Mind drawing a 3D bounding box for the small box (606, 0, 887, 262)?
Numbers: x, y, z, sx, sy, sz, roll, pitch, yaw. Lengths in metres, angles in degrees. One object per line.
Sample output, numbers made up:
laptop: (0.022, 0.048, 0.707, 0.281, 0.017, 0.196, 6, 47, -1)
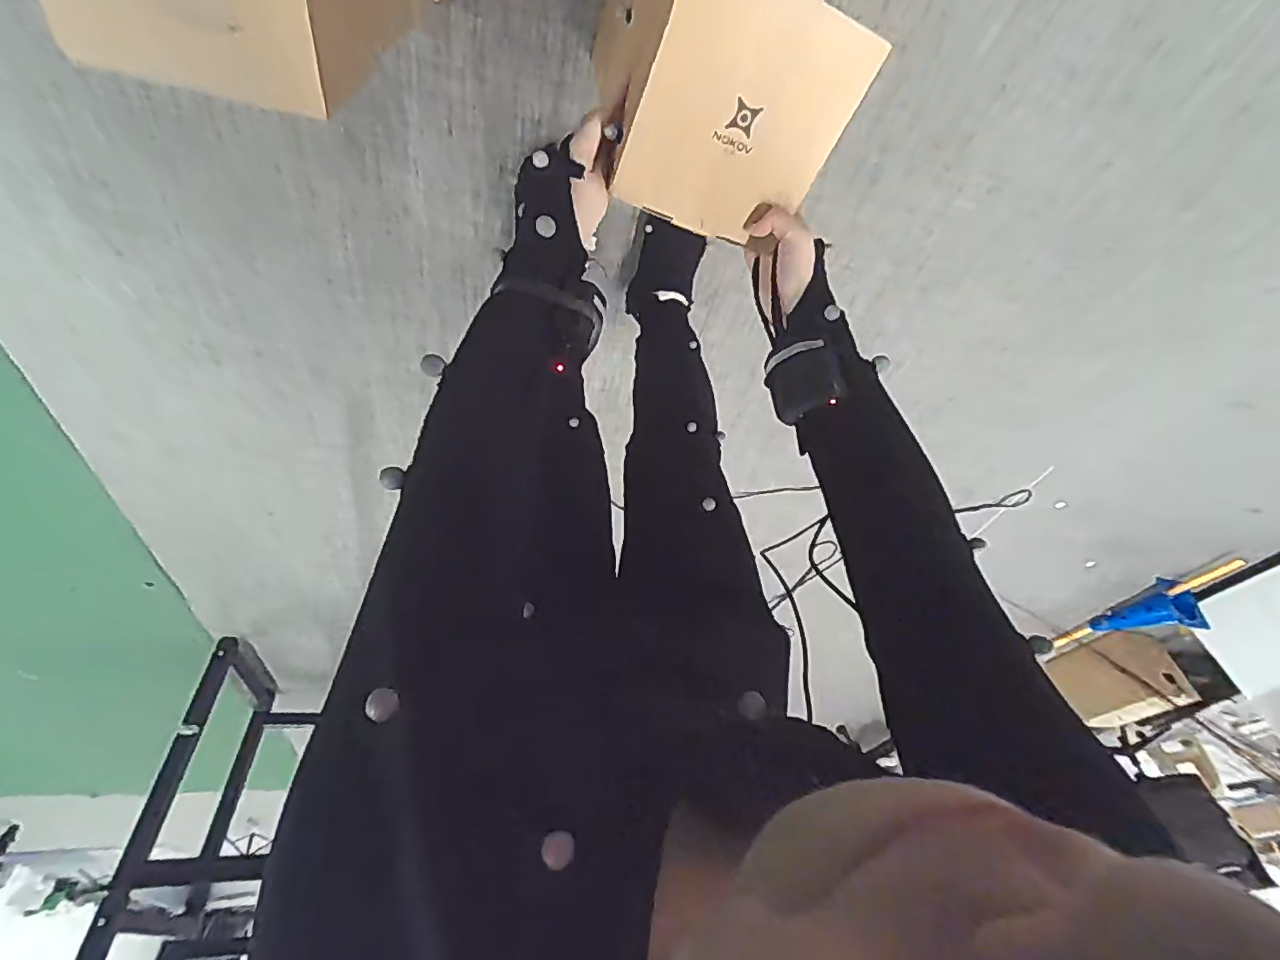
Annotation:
small box: (0.073, -0.338, 0.486, 0.168, 0.176, 0.179, 10, 136, -20)

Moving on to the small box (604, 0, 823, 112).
small box: (0.061, -0.462, 0.590, 0.168, 0.176, 0.179, 9, 136, -17)

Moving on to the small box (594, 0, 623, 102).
small box: (0.041, -0.583, 0.699, 0.168, 0.176, 0.179, 10, 137, -19)
